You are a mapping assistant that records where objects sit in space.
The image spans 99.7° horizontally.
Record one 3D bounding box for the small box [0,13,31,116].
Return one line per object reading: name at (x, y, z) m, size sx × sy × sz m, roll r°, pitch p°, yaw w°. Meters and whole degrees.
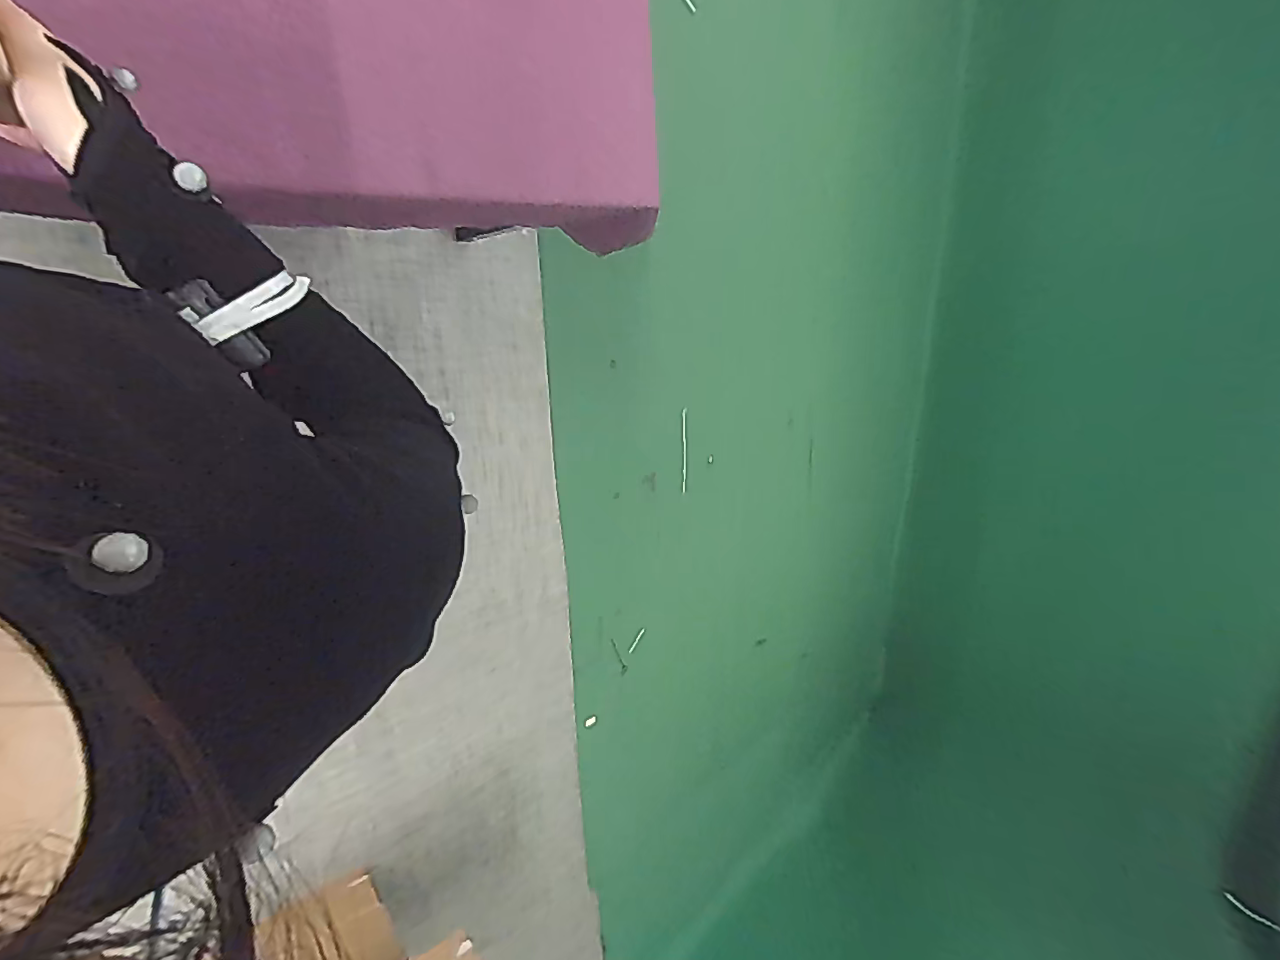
small box at (-0.406, -0.265, 0.217) m, size 0.179 × 0.176 × 0.168 m, roll -22°, pitch 119°, yaw -39°
